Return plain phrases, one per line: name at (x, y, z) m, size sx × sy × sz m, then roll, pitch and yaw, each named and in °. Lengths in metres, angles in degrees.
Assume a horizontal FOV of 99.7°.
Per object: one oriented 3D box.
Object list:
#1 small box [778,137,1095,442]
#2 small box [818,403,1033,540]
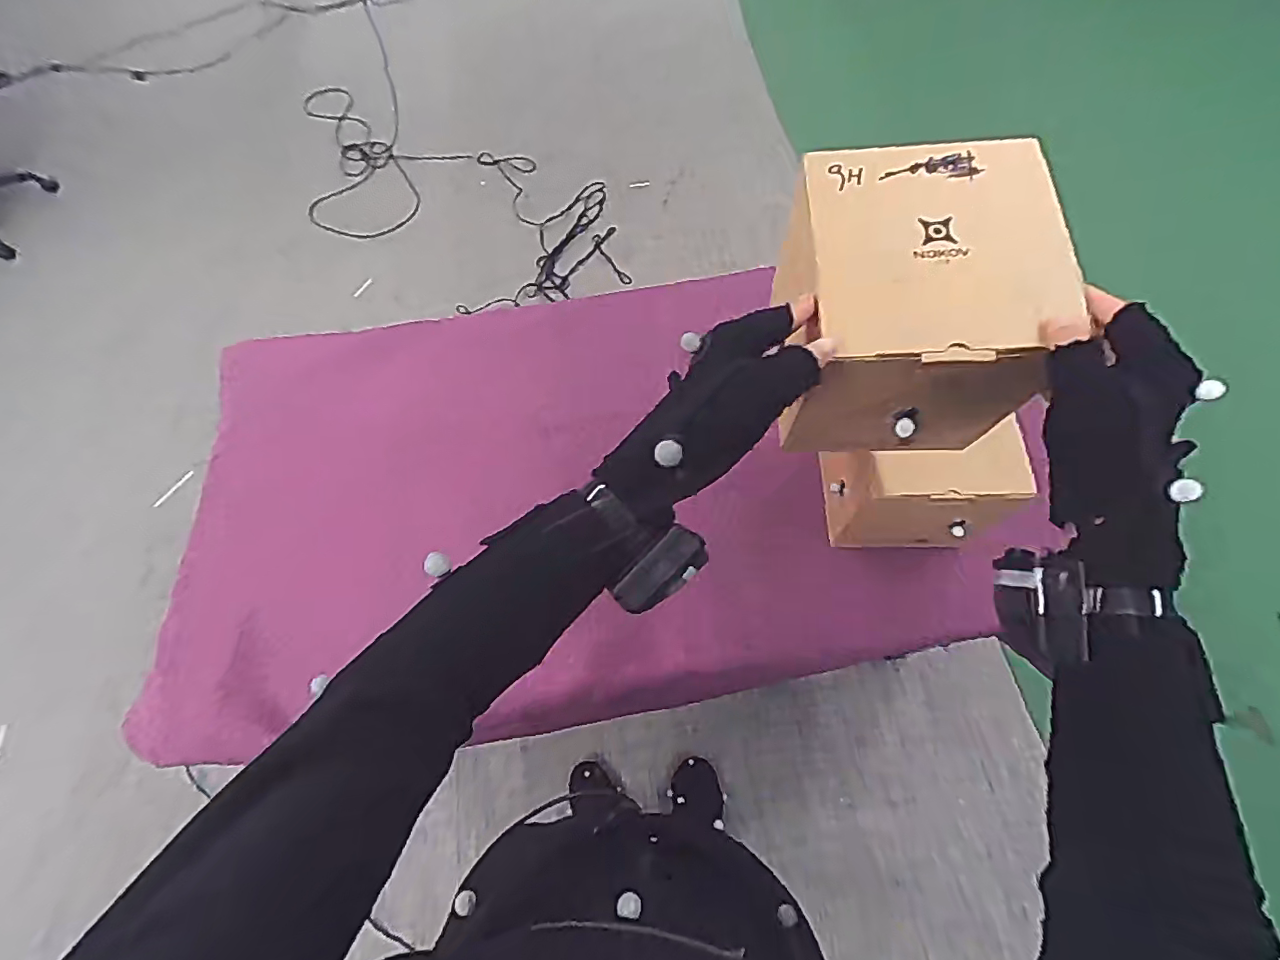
small box at (0.211, -0.136, 0.443) m, size 0.168 × 0.176 × 0.179 m, roll -1°, pitch 72°, yaw 5°
small box at (0.319, -0.032, 0.648) m, size 0.168 × 0.176 × 0.179 m, roll 0°, pitch 65°, yaw 5°
